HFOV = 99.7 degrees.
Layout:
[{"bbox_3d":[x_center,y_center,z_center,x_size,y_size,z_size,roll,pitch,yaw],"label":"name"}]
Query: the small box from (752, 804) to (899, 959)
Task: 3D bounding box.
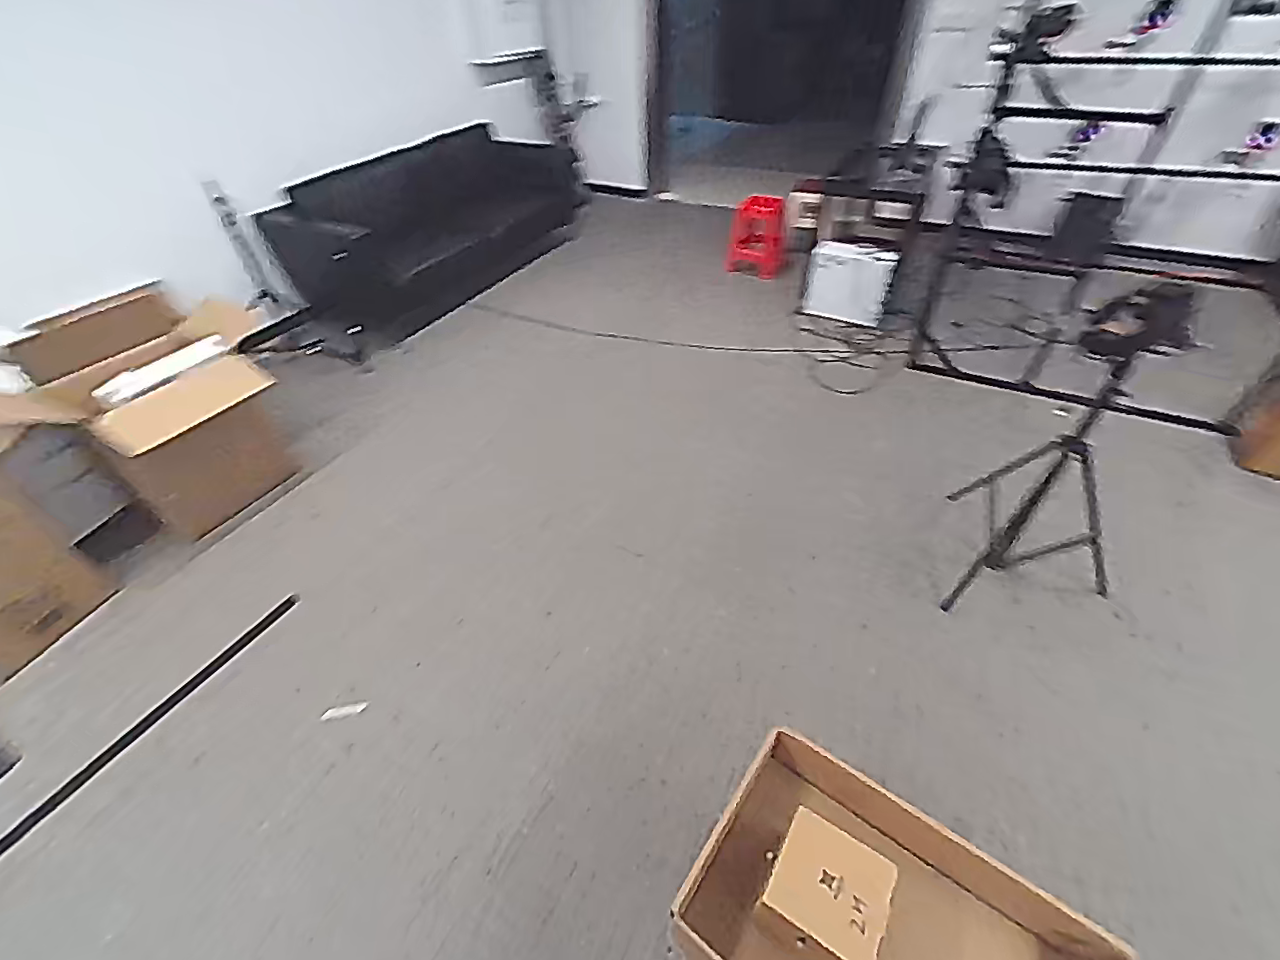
[{"bbox_3d":[0.309,0.709,0.927,0.179,0.176,0.168,25,49,24],"label":"small box"}]
